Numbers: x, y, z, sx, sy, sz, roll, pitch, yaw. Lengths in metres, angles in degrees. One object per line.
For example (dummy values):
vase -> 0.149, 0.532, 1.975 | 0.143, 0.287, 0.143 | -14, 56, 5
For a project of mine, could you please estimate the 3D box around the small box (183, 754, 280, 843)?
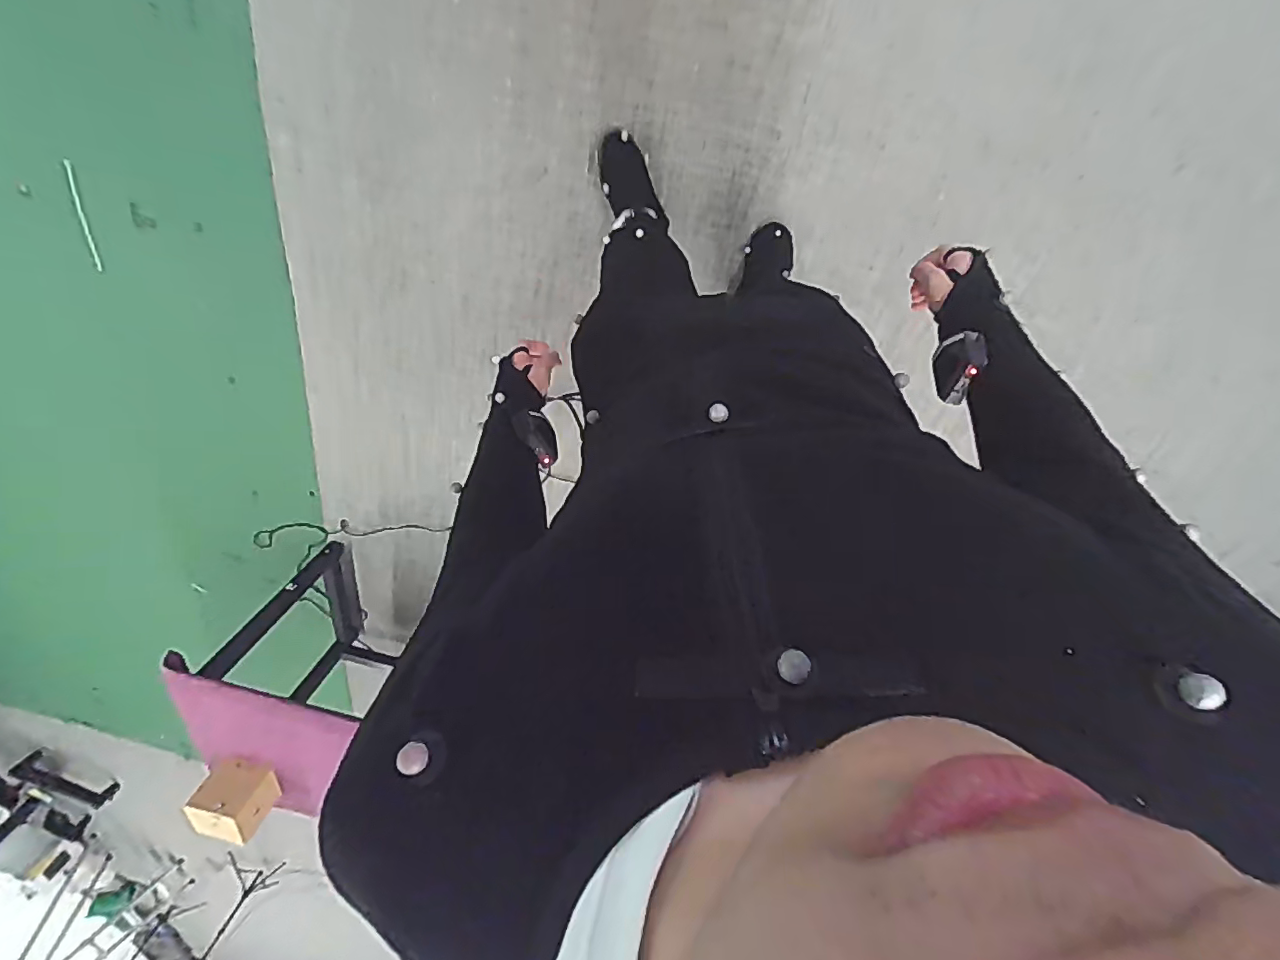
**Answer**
small box -> -1.299, 1.020, 1.736 | 0.168, 0.176, 0.179 | 14, 123, 1
